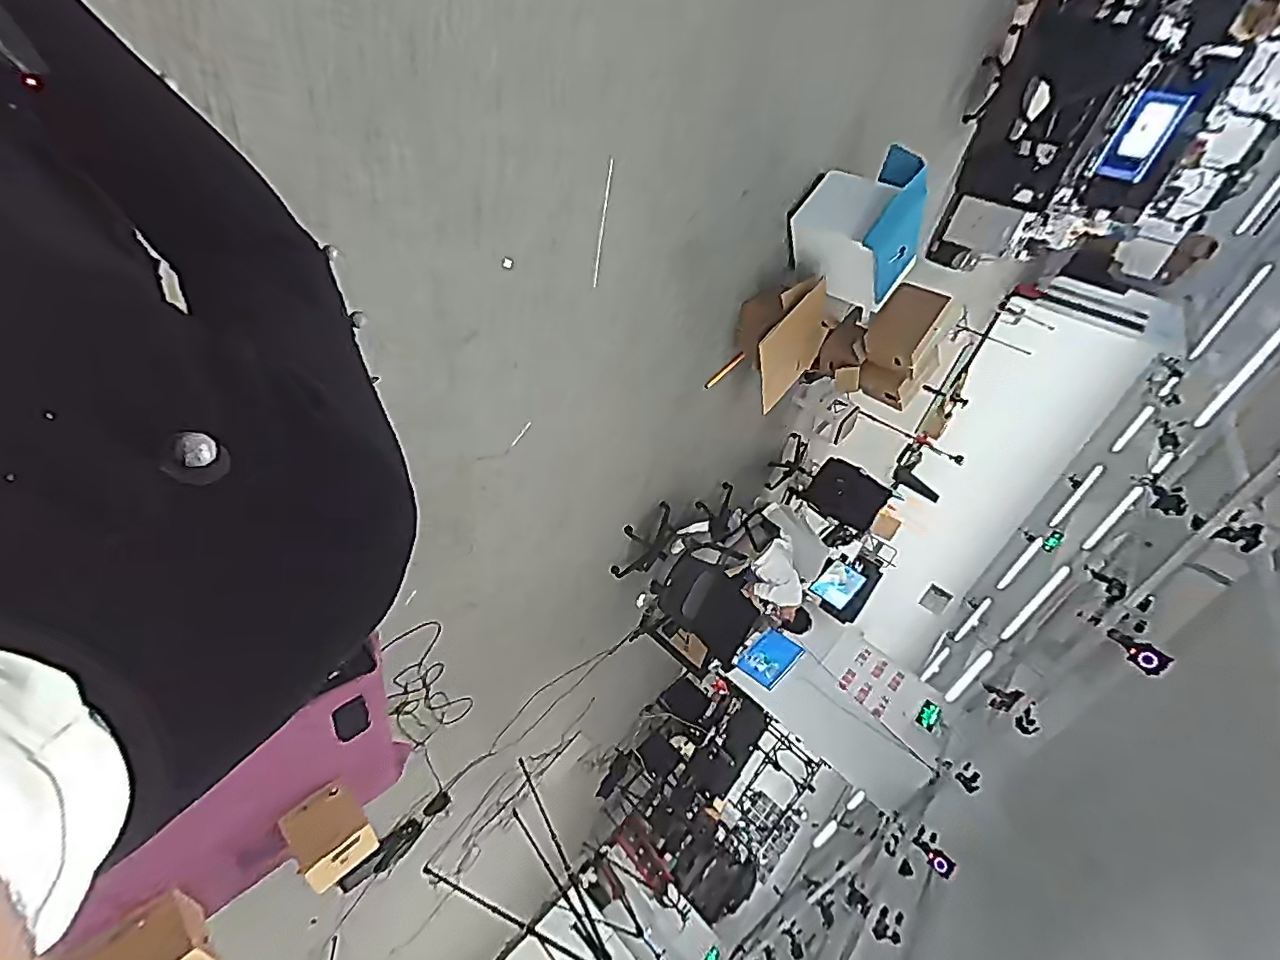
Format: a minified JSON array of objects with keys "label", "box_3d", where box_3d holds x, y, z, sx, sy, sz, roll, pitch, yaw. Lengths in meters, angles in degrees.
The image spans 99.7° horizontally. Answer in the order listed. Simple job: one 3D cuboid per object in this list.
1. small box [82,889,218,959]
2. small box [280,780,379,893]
[{"label":"small box","box_3d":[-1.081,1.065,1.204,0.168,0.176,0.179,-30,143,-40]},{"label":"small box","box_3d":[-0.834,0.949,1.454,0.168,0.176,0.179,-29,143,-39]}]
